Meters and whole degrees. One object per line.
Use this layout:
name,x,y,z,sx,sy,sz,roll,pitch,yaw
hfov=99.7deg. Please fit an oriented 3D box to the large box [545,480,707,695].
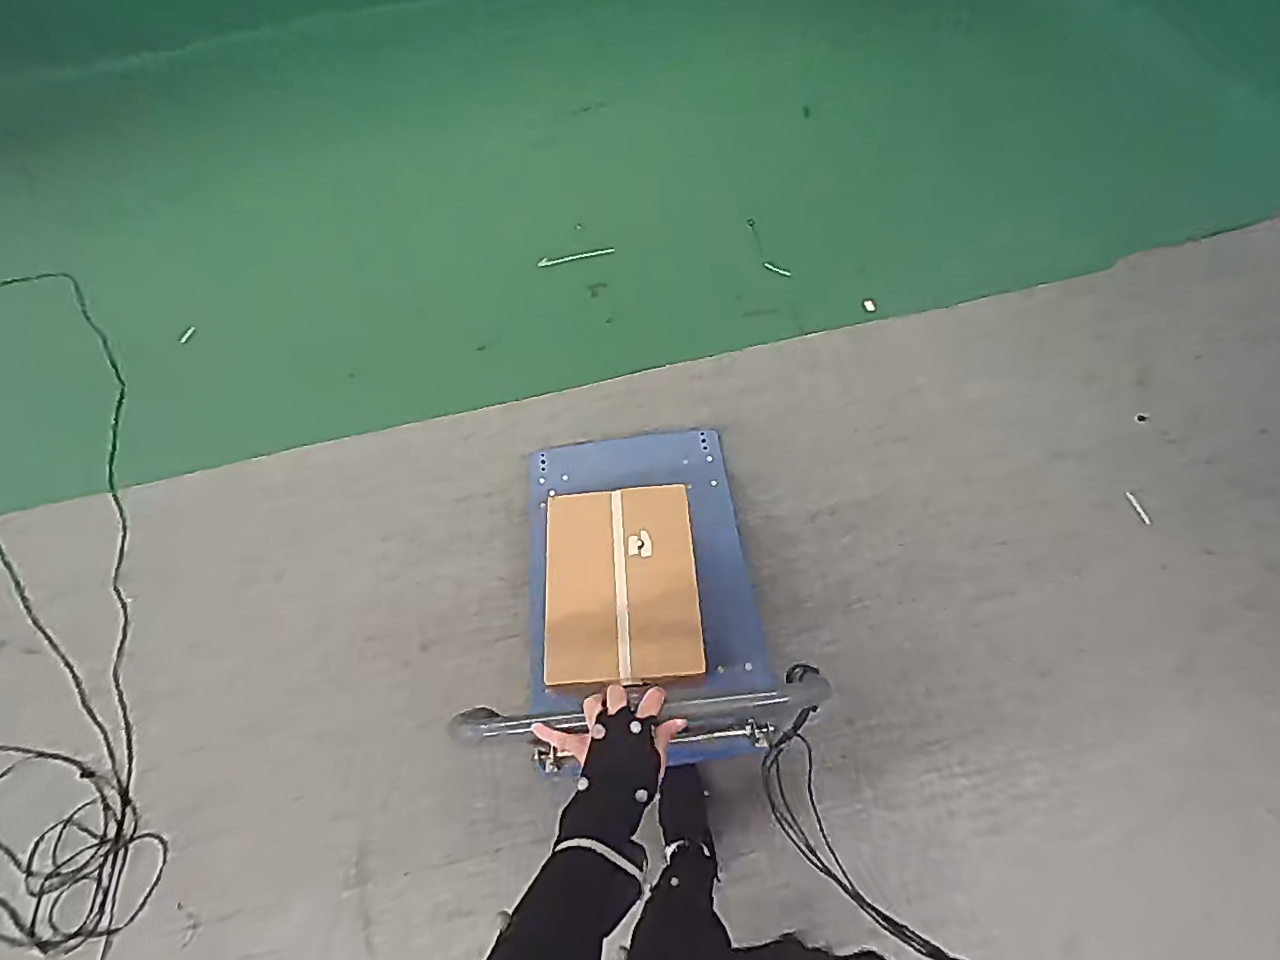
large box,-0.028,0.256,1.242,0.320,0.320,0.408,-4,63,2
